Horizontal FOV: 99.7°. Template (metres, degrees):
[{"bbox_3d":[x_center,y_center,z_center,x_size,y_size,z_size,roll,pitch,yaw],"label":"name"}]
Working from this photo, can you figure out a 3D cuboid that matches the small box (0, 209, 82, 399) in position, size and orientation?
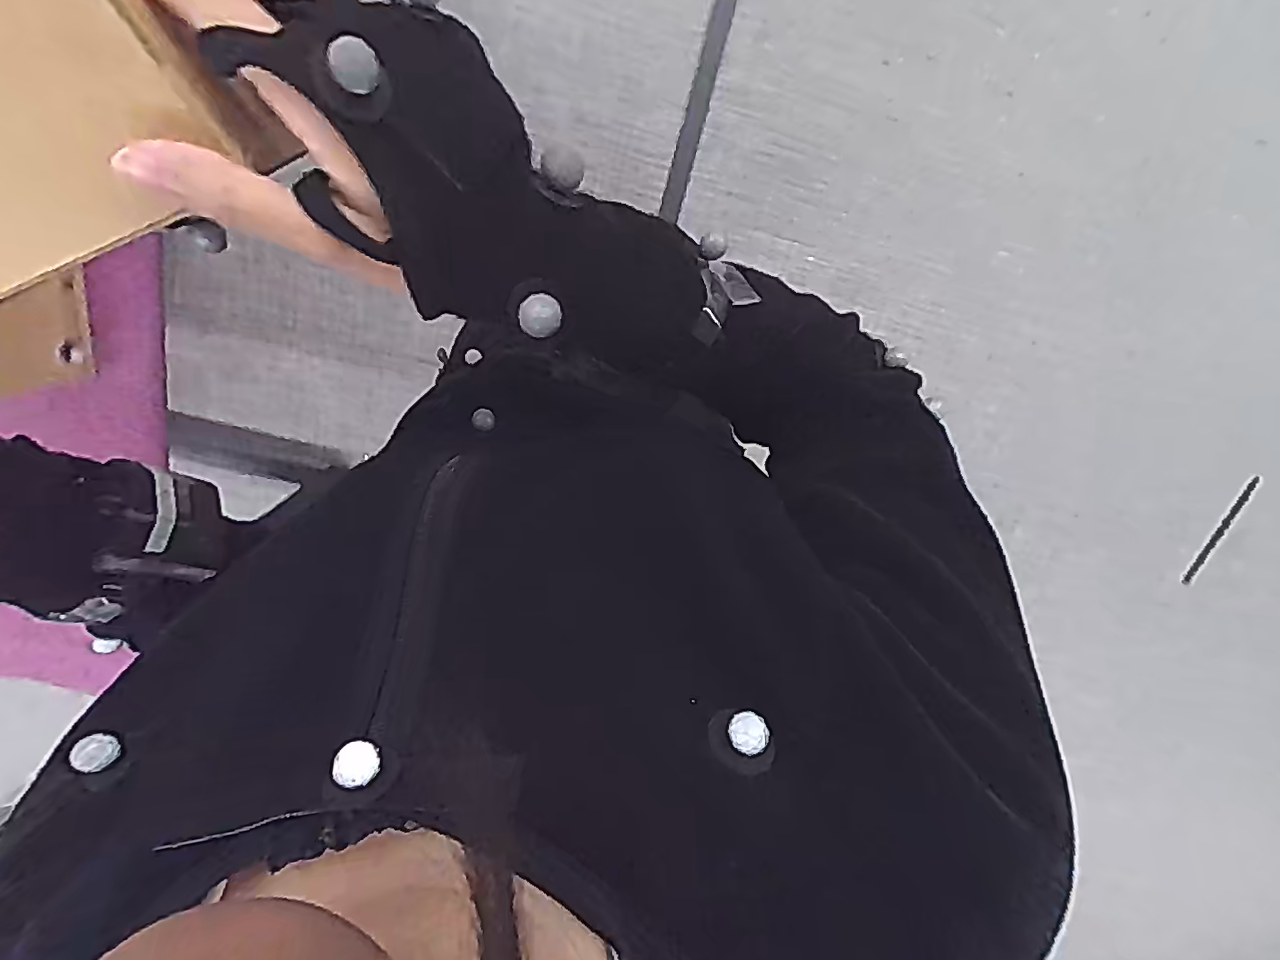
[{"bbox_3d":[-0.675,-0.173,0.496,0.179,0.176,0.168,11,111,-7],"label":"small box"}]
